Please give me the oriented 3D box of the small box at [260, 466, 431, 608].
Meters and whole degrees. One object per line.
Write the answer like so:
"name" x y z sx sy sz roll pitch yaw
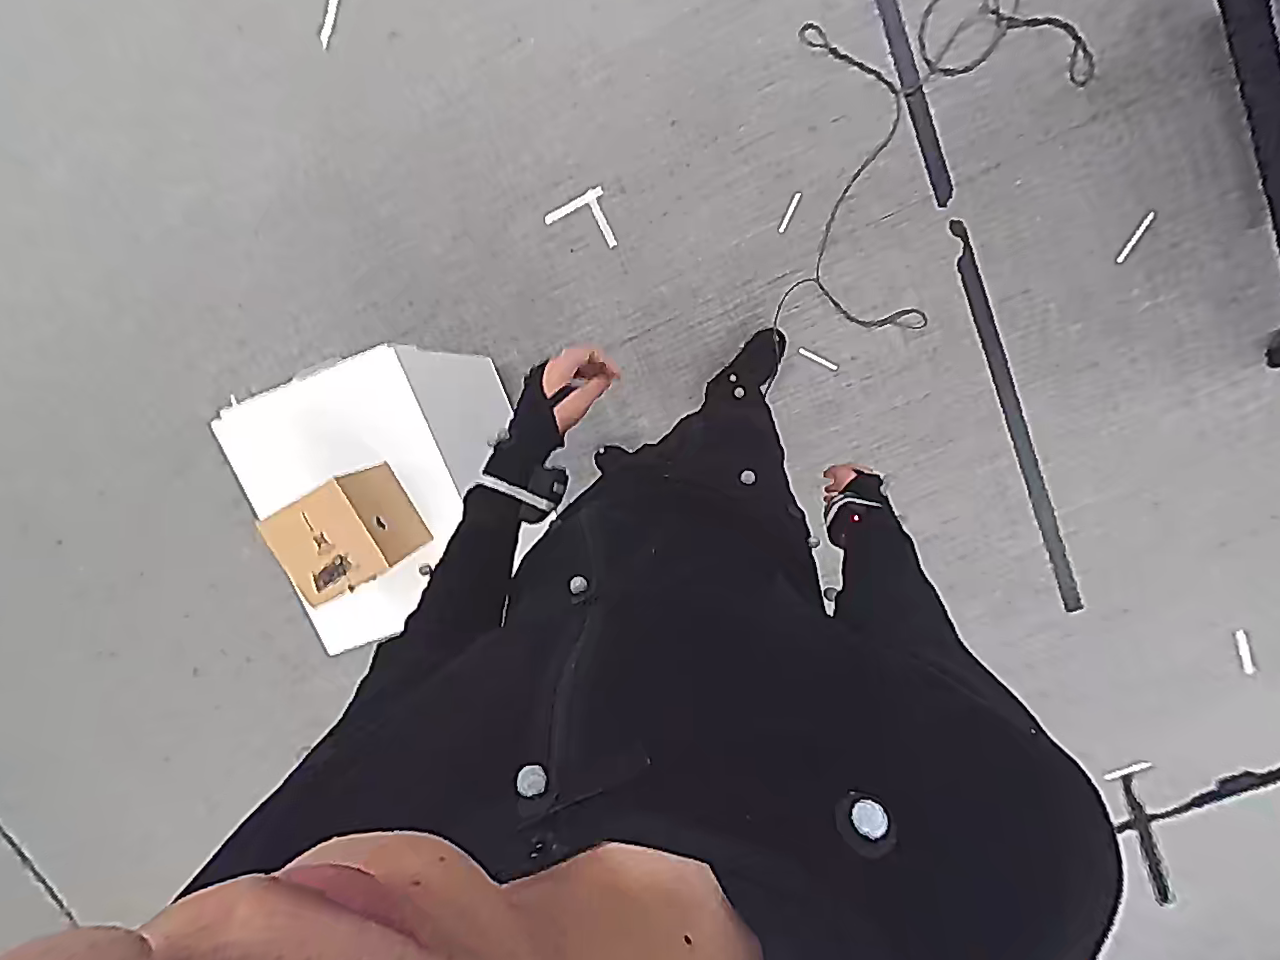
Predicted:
"small box" -0.511 0.093 0.967 0.168 0.176 0.179 -28 97 8
